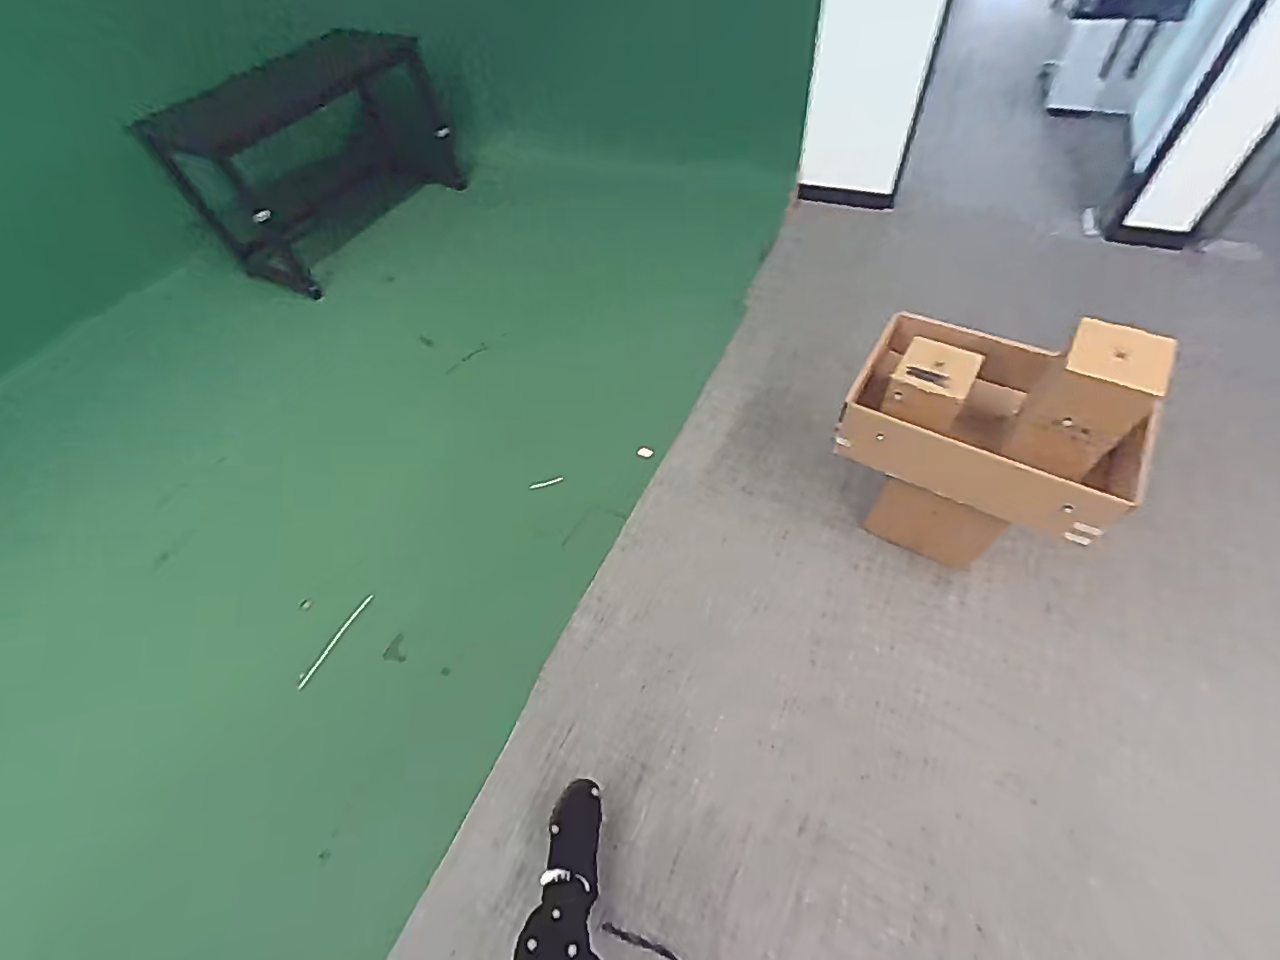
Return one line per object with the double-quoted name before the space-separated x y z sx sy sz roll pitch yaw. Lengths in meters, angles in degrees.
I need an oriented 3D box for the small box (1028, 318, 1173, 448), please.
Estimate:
"small box" 0.958 -0.202 1.138 0.168 0.176 0.179 26 63 23
